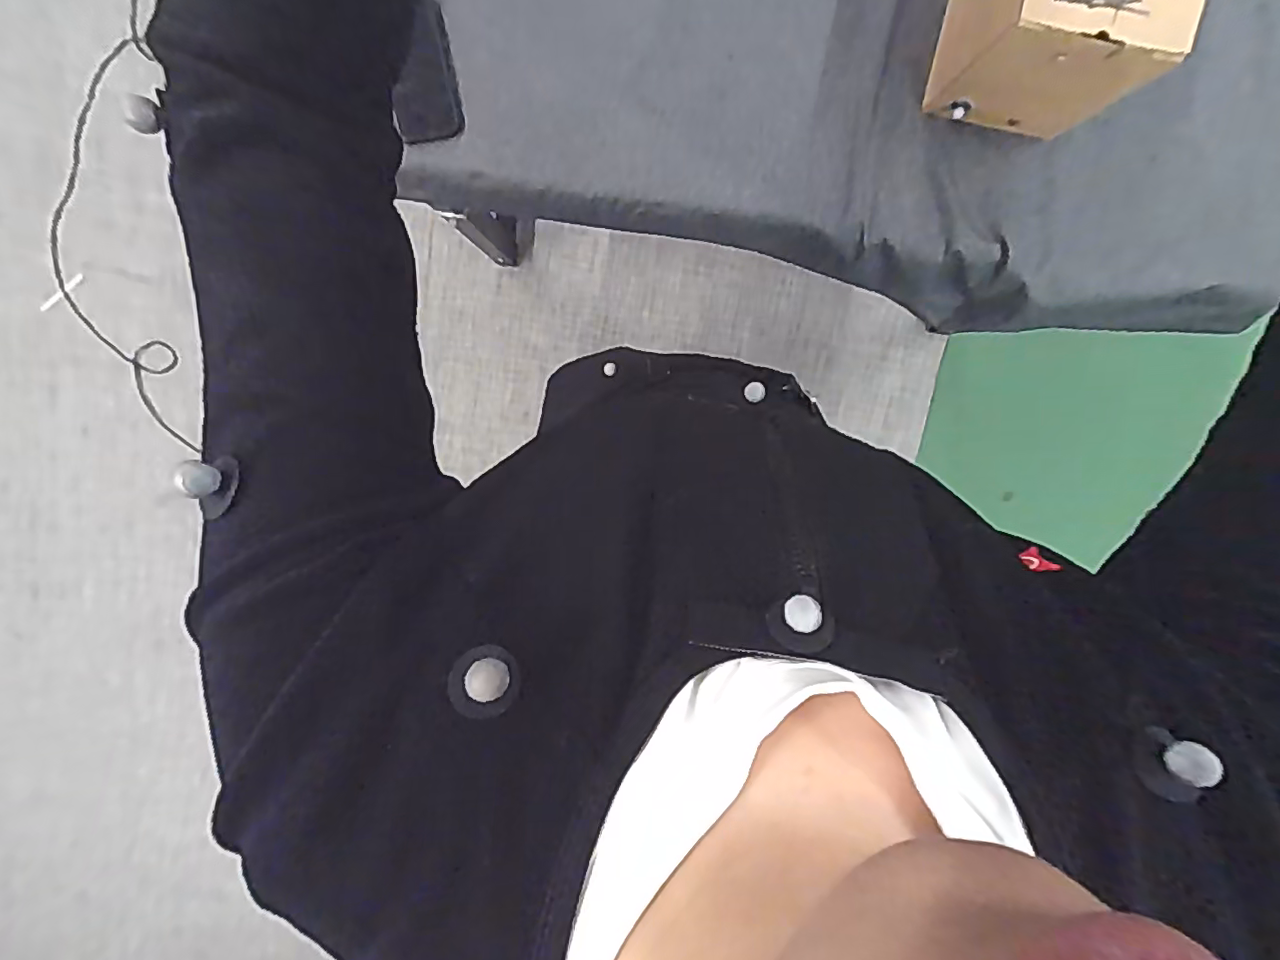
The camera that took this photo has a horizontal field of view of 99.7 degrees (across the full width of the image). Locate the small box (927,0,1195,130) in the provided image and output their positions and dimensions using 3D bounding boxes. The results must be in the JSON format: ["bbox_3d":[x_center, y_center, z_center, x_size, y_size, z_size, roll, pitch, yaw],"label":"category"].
[{"bbox_3d":[0.434,-0.505,0.565,0.168,0.176,0.179,10,99,-4],"label":"small box"}]
